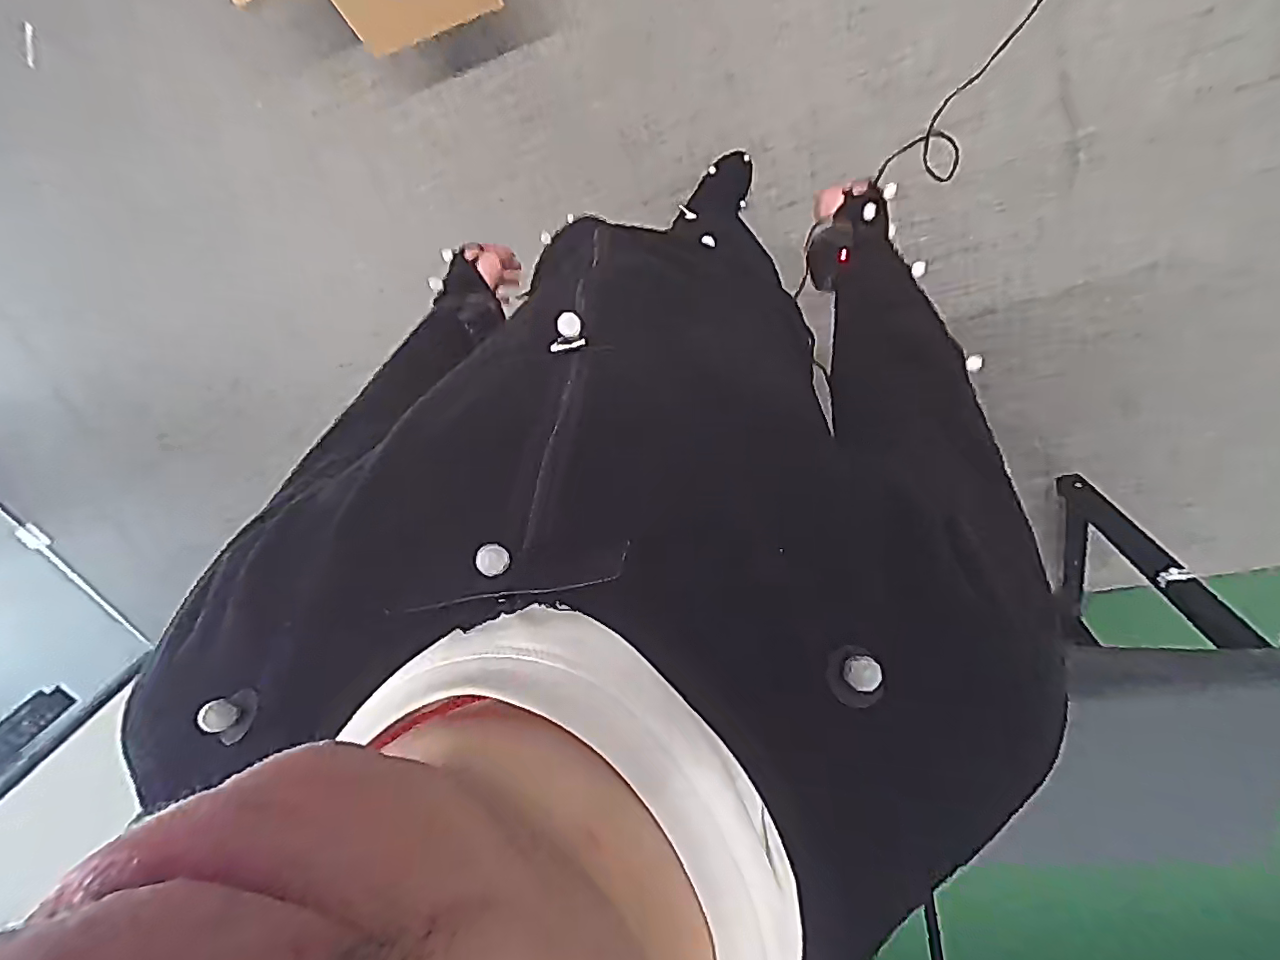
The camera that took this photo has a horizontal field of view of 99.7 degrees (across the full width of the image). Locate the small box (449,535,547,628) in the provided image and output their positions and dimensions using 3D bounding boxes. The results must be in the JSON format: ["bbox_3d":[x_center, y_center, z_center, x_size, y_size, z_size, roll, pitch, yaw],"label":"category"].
[{"bbox_3d":[-0.382,0.272,1.483,0.168,0.176,0.179,-19,117,19],"label":"small box"}]
